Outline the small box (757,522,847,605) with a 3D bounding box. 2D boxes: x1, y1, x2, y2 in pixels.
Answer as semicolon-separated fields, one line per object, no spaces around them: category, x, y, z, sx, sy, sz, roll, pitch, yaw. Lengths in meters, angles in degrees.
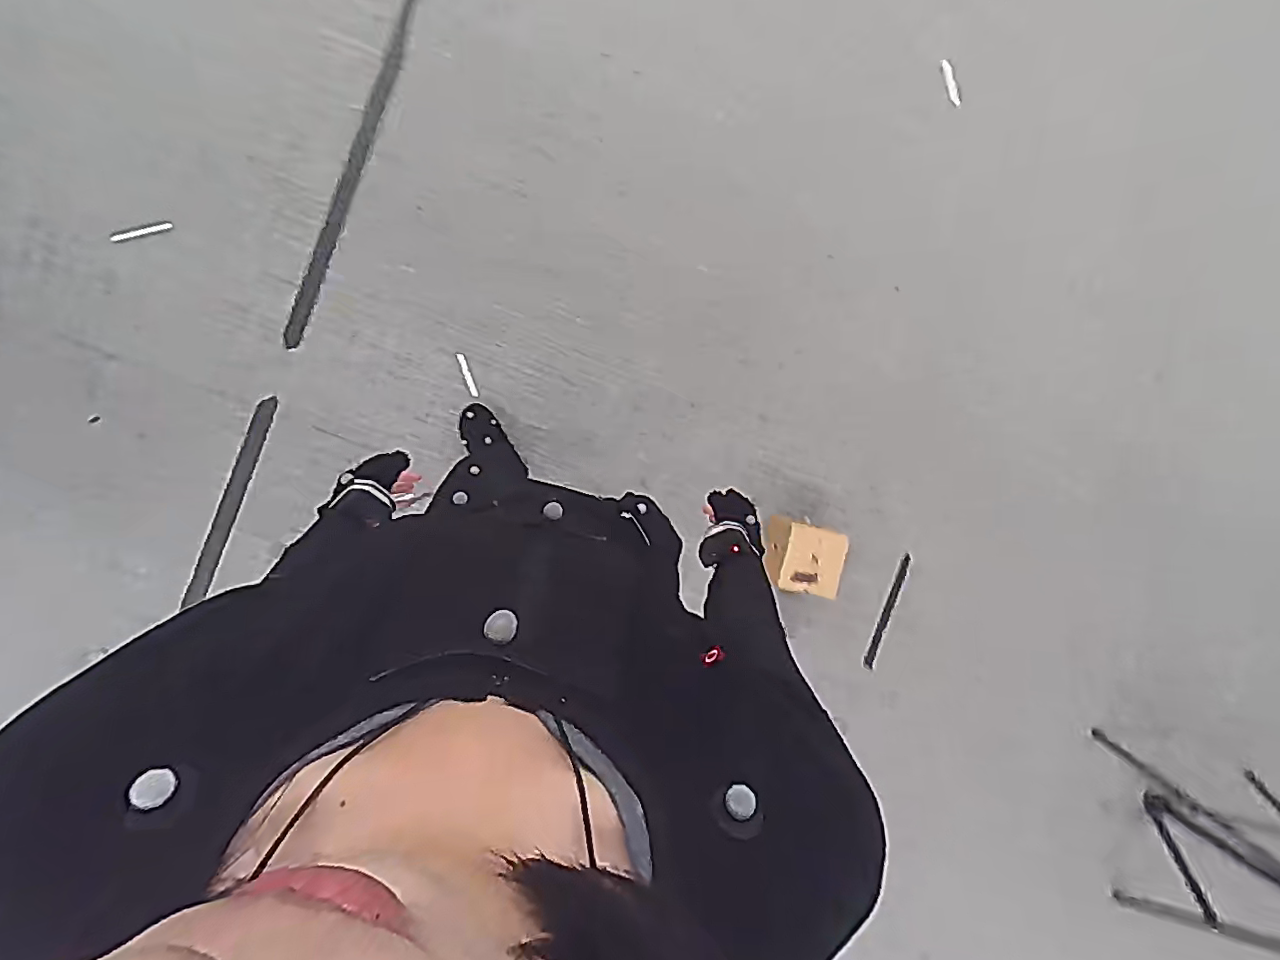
small box;0.441;0.226;1.503;0.168;0.176;0.179;14;91;-7
